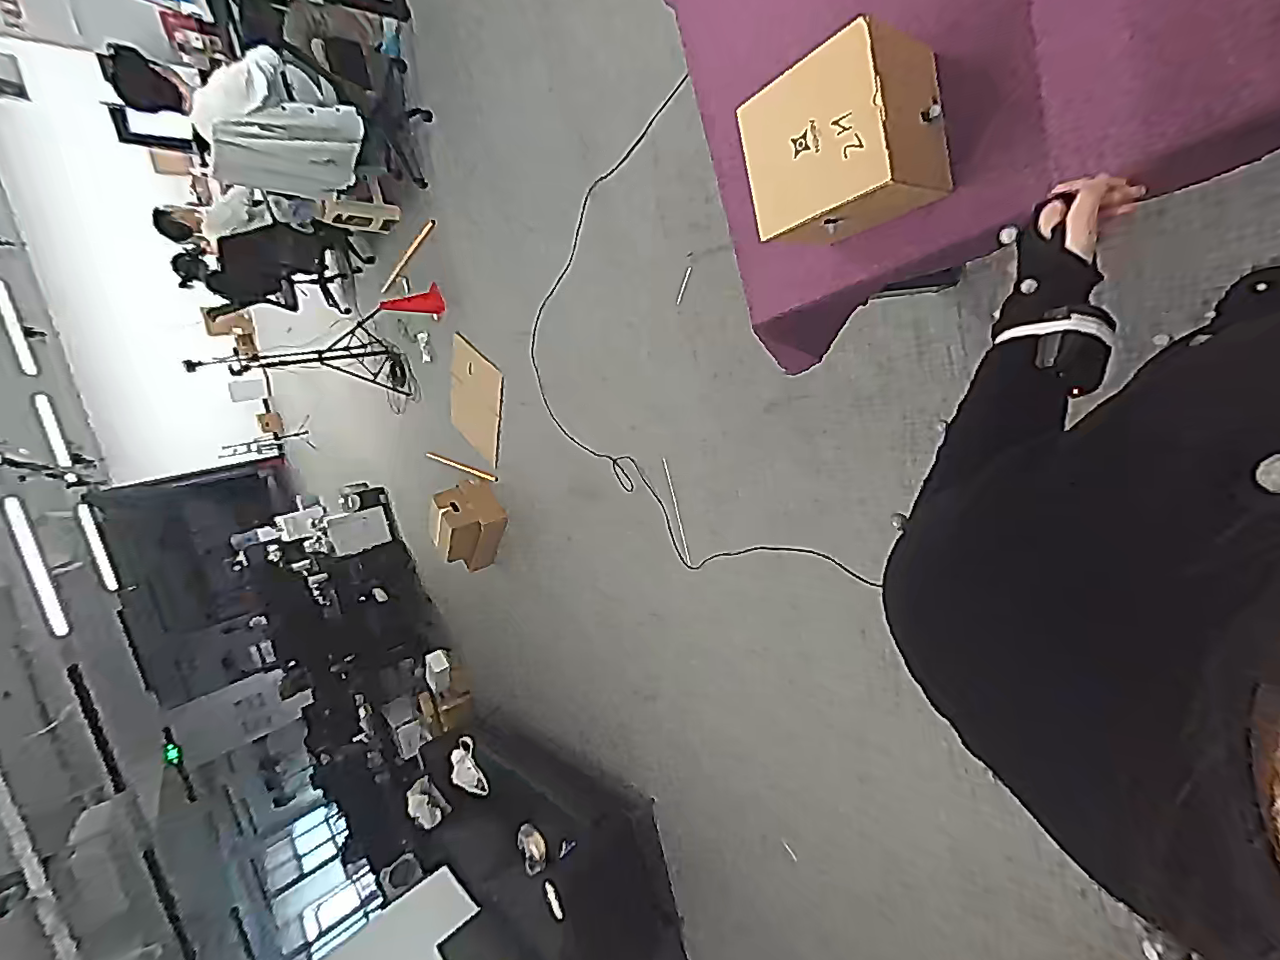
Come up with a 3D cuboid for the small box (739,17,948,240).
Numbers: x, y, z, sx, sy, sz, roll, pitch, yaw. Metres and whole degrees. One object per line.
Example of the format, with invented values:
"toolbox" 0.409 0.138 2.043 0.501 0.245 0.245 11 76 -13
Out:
"small box" 0.255 -0.414 0.679 0.179 0.176 0.168 -3 102 50
